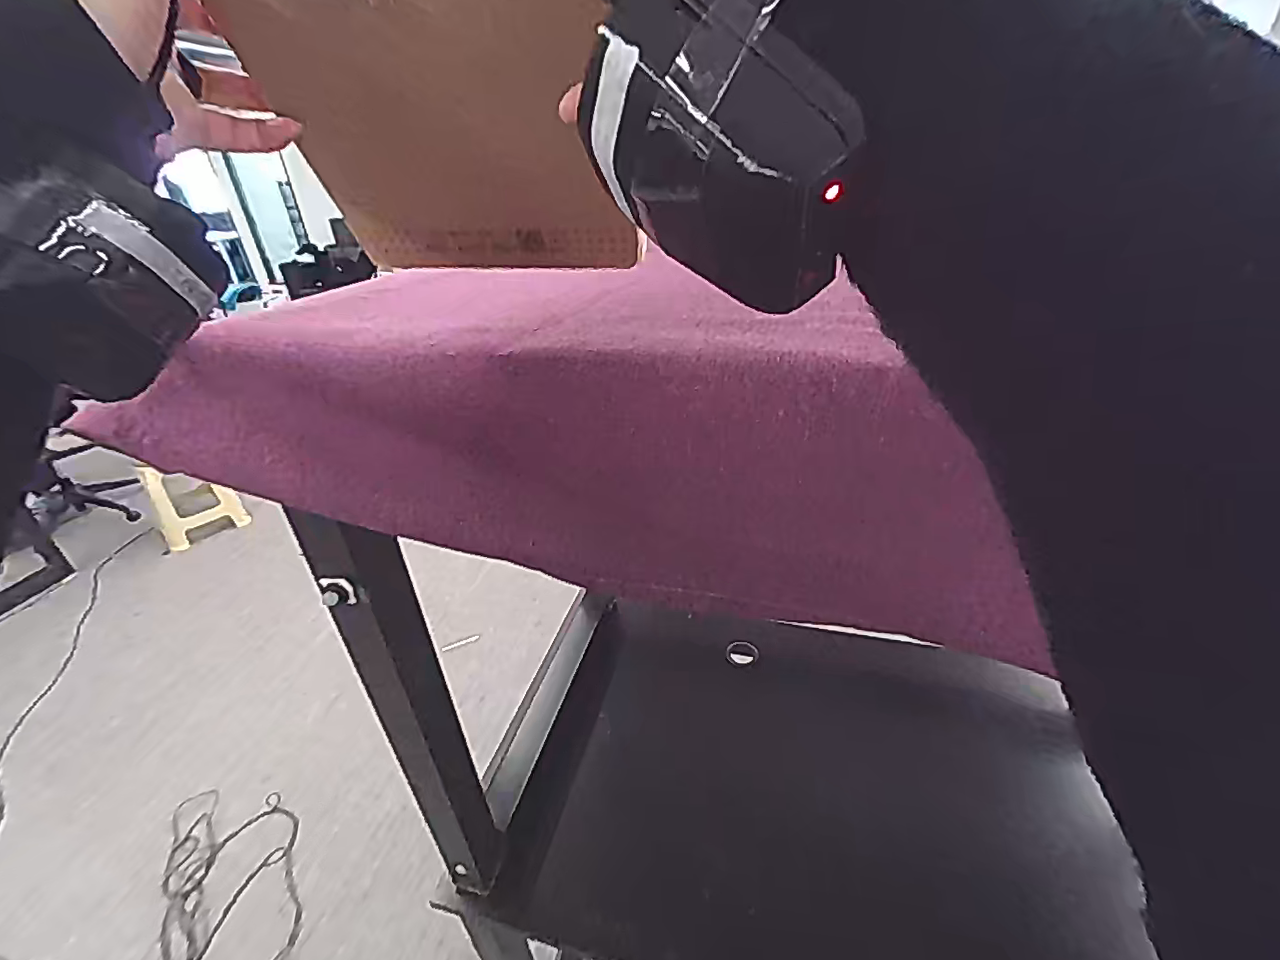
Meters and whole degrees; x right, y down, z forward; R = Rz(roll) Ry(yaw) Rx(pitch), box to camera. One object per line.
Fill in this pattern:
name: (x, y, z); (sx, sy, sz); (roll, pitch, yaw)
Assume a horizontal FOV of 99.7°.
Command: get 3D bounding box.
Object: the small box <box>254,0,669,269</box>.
small box: (-0.073, -0.240, 0.285); (0.168, 0.176, 0.179); (3, 63, 6)
